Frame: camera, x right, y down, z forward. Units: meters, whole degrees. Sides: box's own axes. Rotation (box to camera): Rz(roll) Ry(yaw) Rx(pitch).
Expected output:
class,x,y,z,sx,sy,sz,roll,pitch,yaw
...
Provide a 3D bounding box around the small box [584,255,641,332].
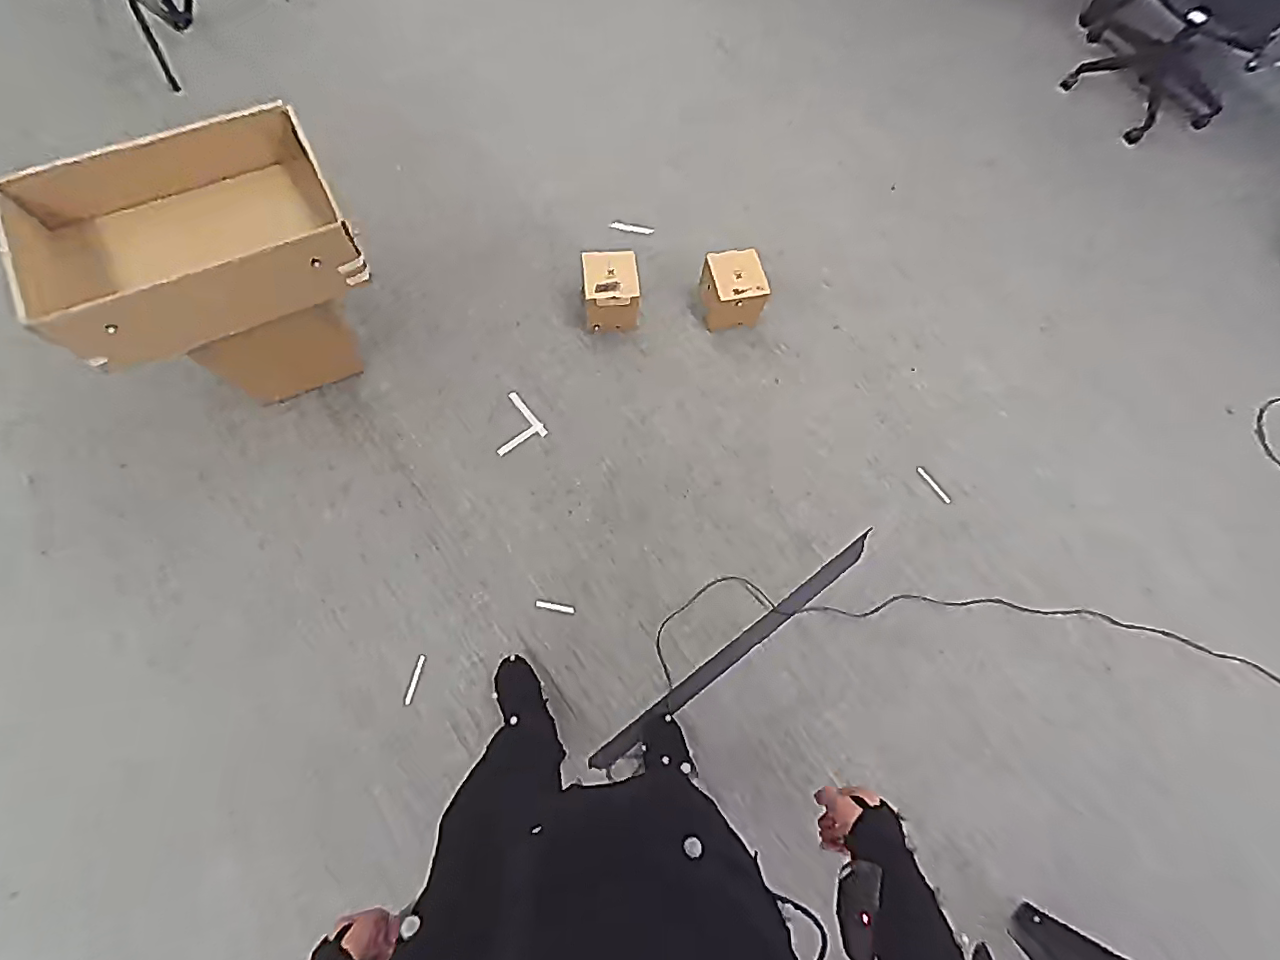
class,x,y,z,sx,sy,sz,roll,pitch,yaw
small box,-0.090,-0.587,1.722,0.168,0.176,0.179,-4,72,-6

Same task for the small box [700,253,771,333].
class,x,y,z,sx,sy,sz,roll,pitch,yaw
small box,0.303,-0.606,1.762,0.168,0.176,0.179,-11,72,-8
